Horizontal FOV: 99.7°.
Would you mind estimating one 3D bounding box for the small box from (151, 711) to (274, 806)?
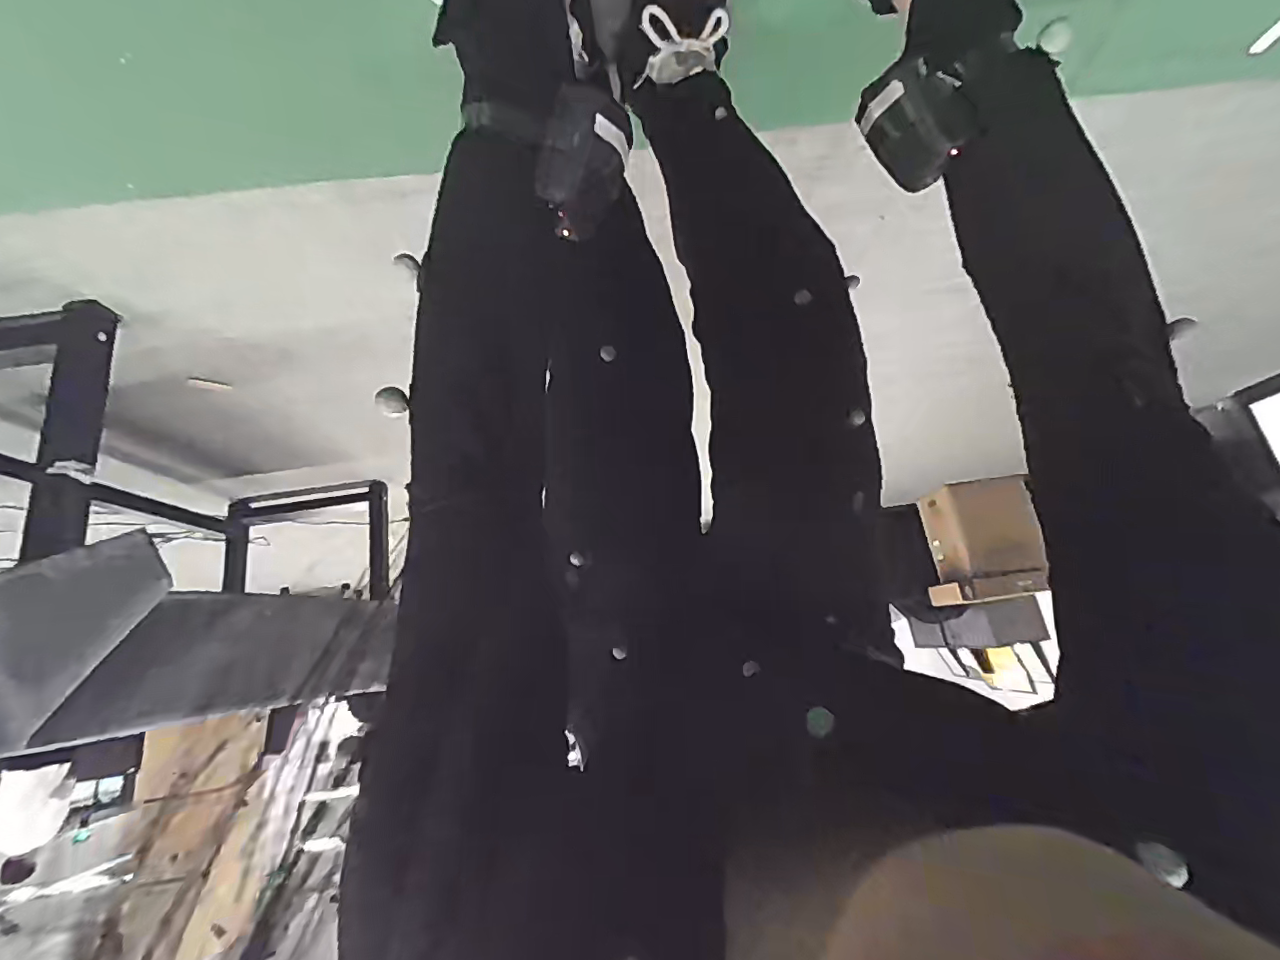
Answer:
[{"bbox_3d":[-1.029,0.666,1.316,0.179,0.176,0.168,-7,163,-1],"label":"small box"}]

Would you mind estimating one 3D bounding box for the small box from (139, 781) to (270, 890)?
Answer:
[{"bbox_3d":[-1.006,0.819,1.267,0.179,0.176,0.168,-8,162,-2],"label":"small box"}]

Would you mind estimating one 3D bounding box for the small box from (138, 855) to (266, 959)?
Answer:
[{"bbox_3d":[-0.979,0.973,1.215,0.168,0.176,0.179,-8,162,-3],"label":"small box"}]
